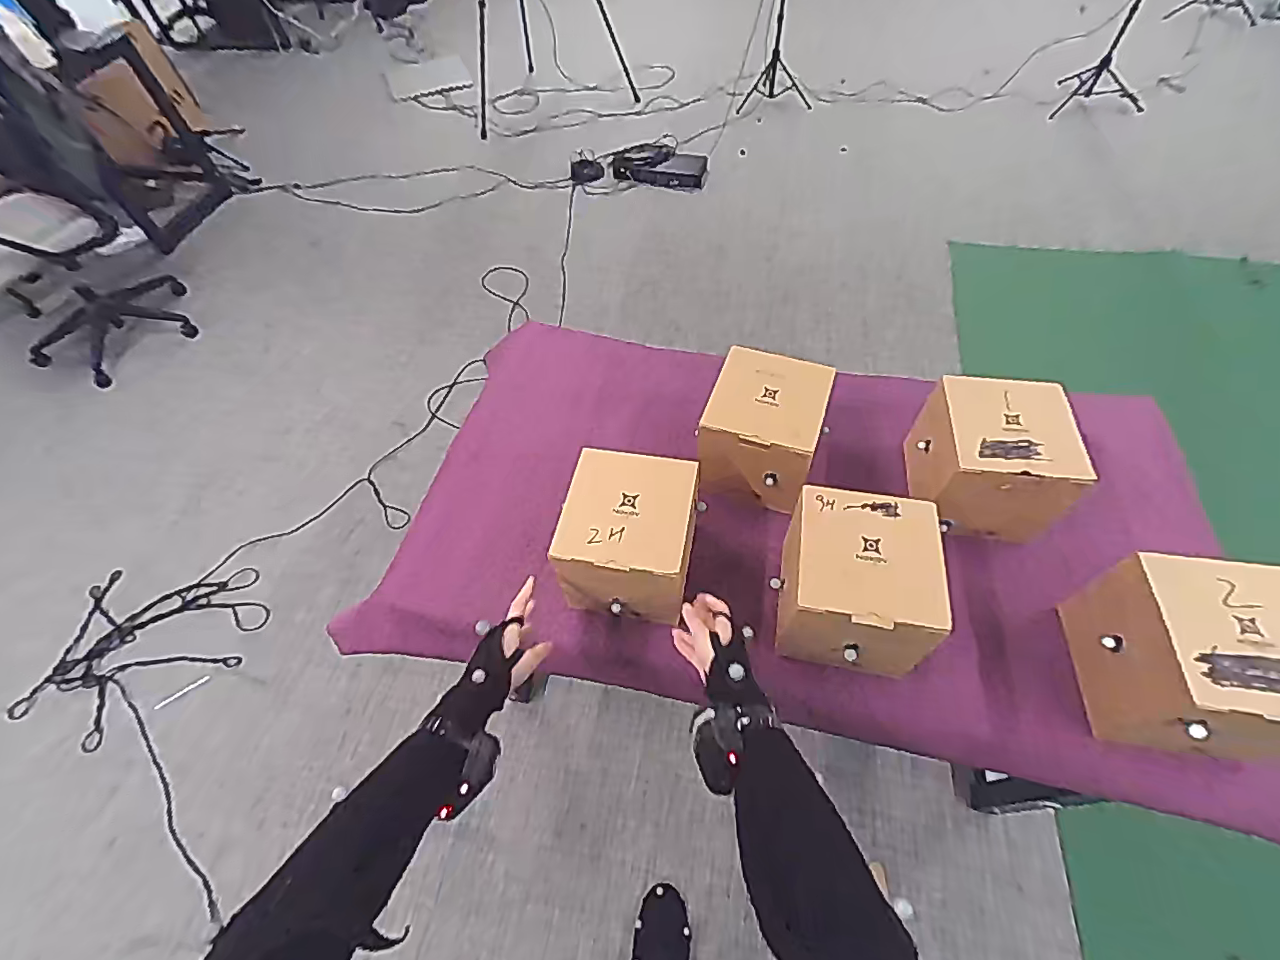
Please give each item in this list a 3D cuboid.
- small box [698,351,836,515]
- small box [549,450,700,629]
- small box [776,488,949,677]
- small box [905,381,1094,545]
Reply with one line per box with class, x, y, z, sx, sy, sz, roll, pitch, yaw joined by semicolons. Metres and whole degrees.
small box;0.195;-0.071;0.859;0.168;0.176;0.179;17;58;14
small box;-0.013;0.085;0.760;0.168;0.176;0.179;8;55;10
small box;0.276;0.138;0.703;0.168;0.176;0.179;9;55;9
small box;0.512;-0.021;0.802;0.168;0.176;0.179;7;54;8
